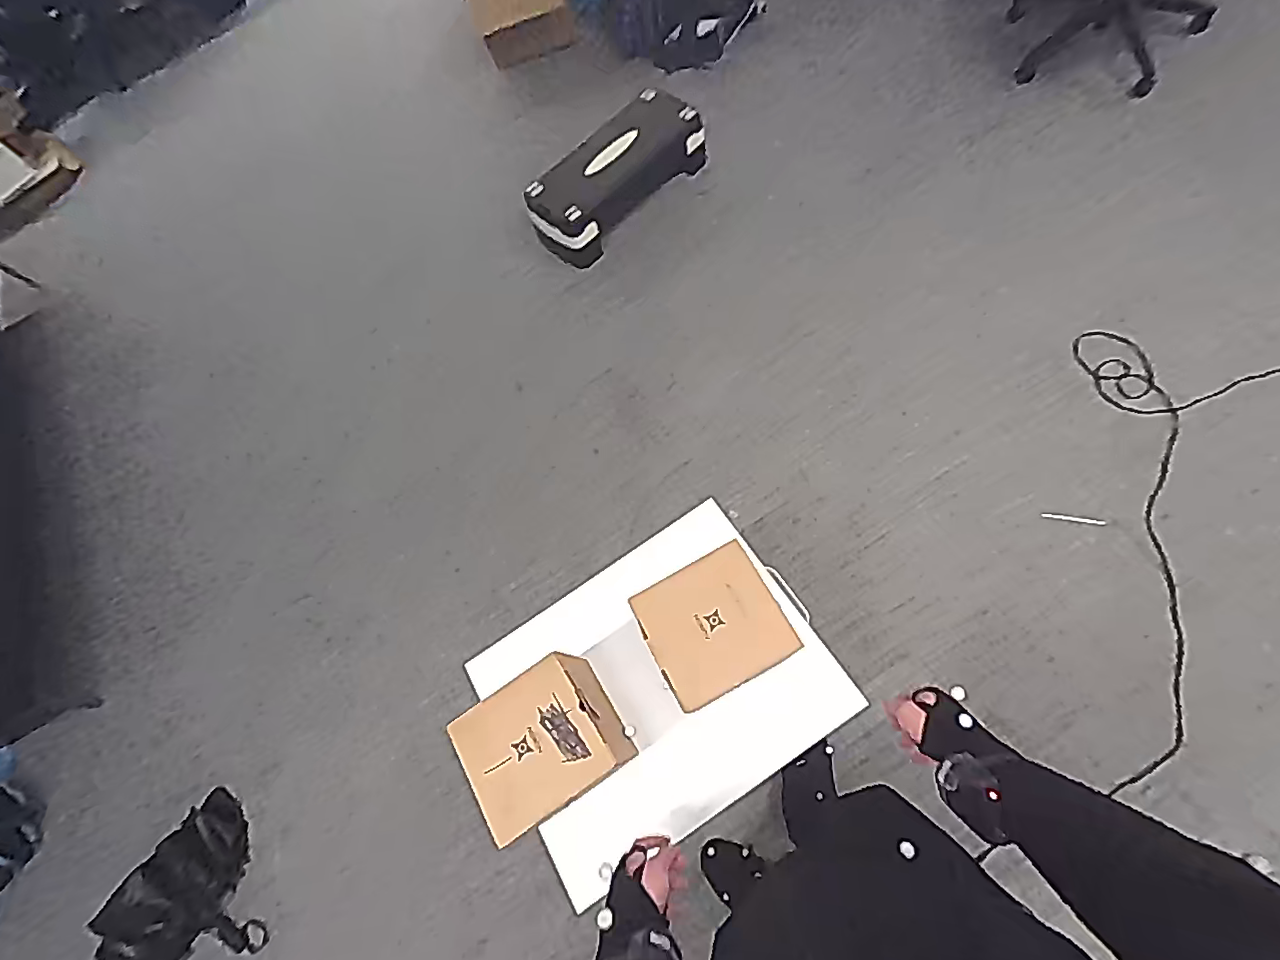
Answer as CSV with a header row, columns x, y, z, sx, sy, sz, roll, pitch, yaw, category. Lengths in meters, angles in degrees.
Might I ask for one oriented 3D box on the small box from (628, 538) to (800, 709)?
x,y,z,sx,sy,sz,roll,pitch,yaw,category
0.108,0.212,0.783,0.179,0.176,0.168,-29,68,-2,small box
